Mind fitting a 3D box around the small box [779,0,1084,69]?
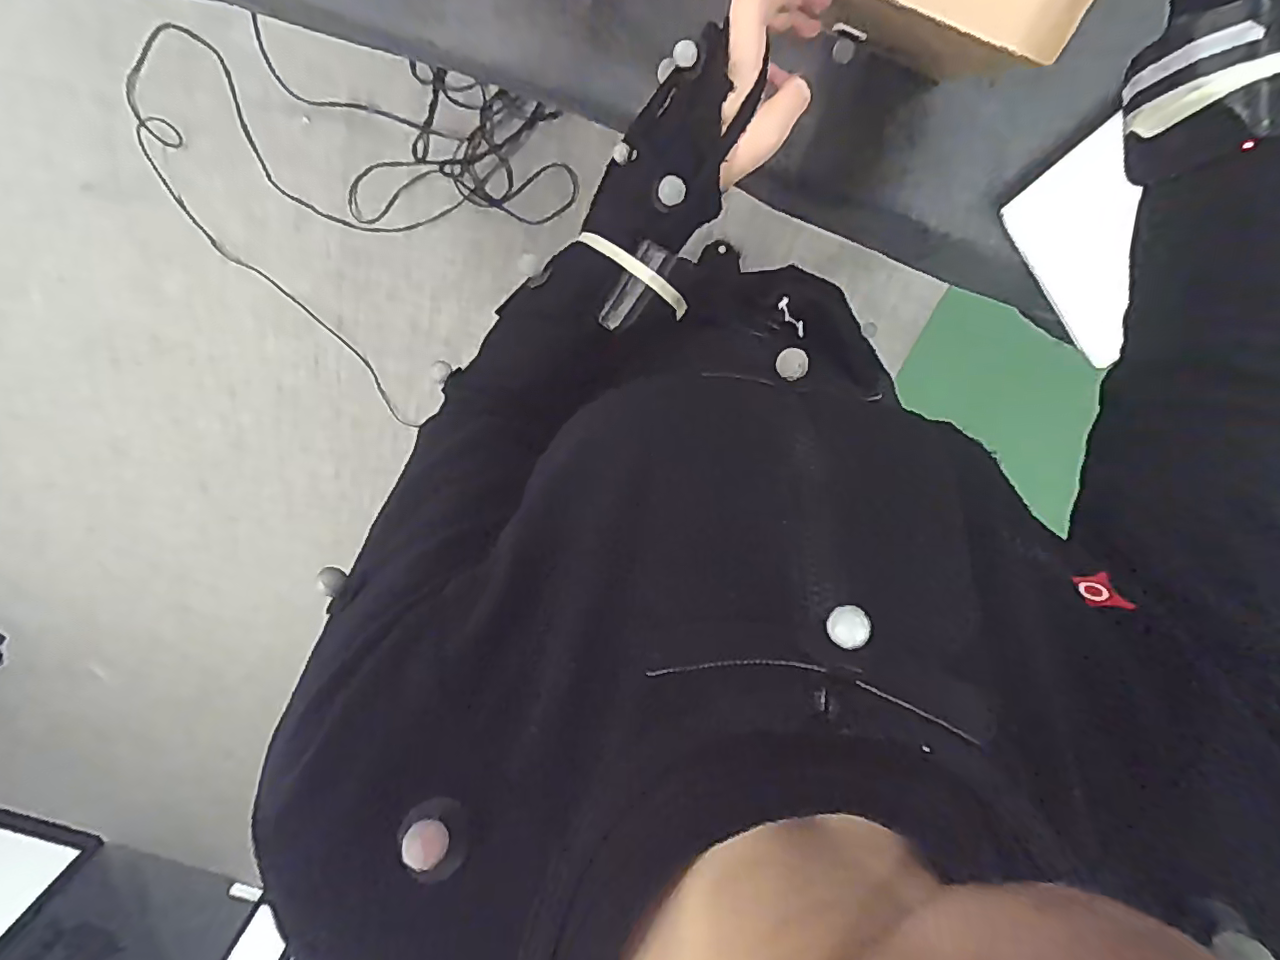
[{"bbox_3d":[0.191,-0.378,0.320,0.168,0.176,0.179,18,125,-5],"label":"small box"}]
